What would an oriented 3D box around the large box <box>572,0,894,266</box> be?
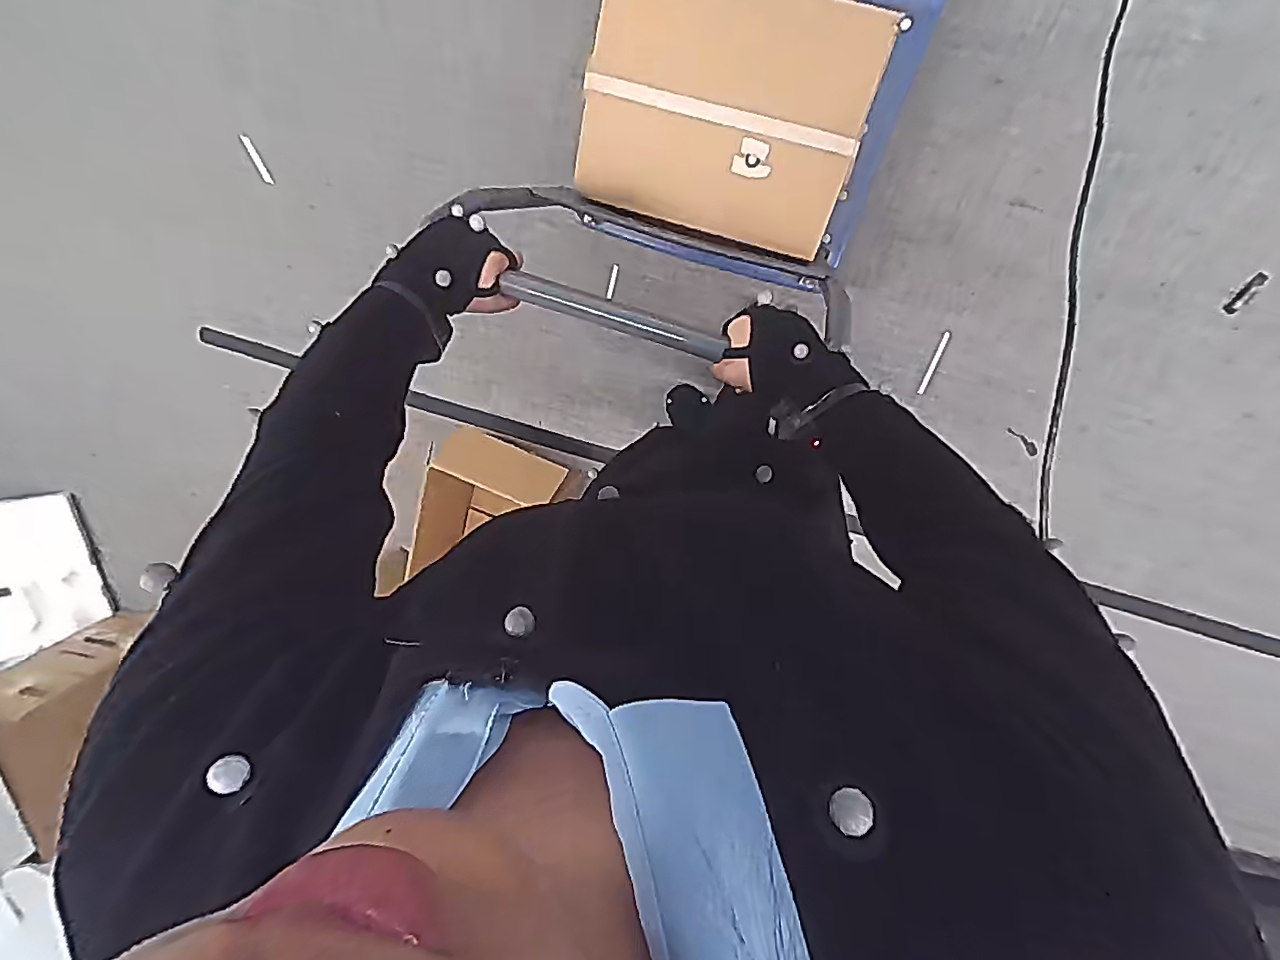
[{"bbox_3d":[0.138,-0.577,0.921,0.408,0.320,0.320,18,117,4],"label":"large box"}]
